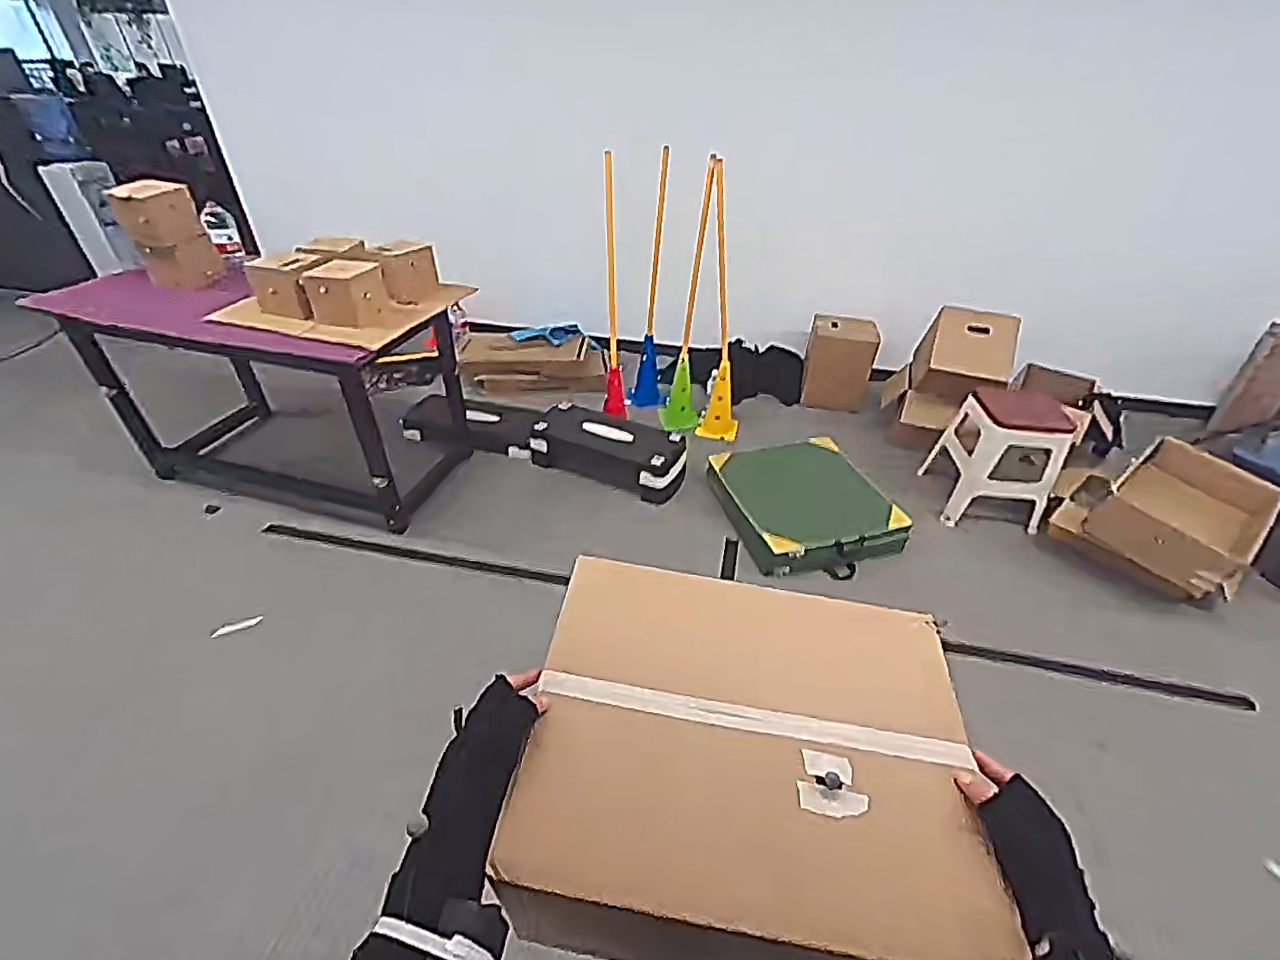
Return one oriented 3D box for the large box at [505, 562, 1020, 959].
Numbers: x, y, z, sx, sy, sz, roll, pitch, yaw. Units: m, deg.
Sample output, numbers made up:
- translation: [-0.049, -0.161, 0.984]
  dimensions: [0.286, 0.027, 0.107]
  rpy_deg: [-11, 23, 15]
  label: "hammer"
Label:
- translation: [0.096, 0.335, 0.617]
  dimensions: [0.408, 0.320, 0.320]
  rpy_deg: [10, 44, 3]
  label: "large box"
